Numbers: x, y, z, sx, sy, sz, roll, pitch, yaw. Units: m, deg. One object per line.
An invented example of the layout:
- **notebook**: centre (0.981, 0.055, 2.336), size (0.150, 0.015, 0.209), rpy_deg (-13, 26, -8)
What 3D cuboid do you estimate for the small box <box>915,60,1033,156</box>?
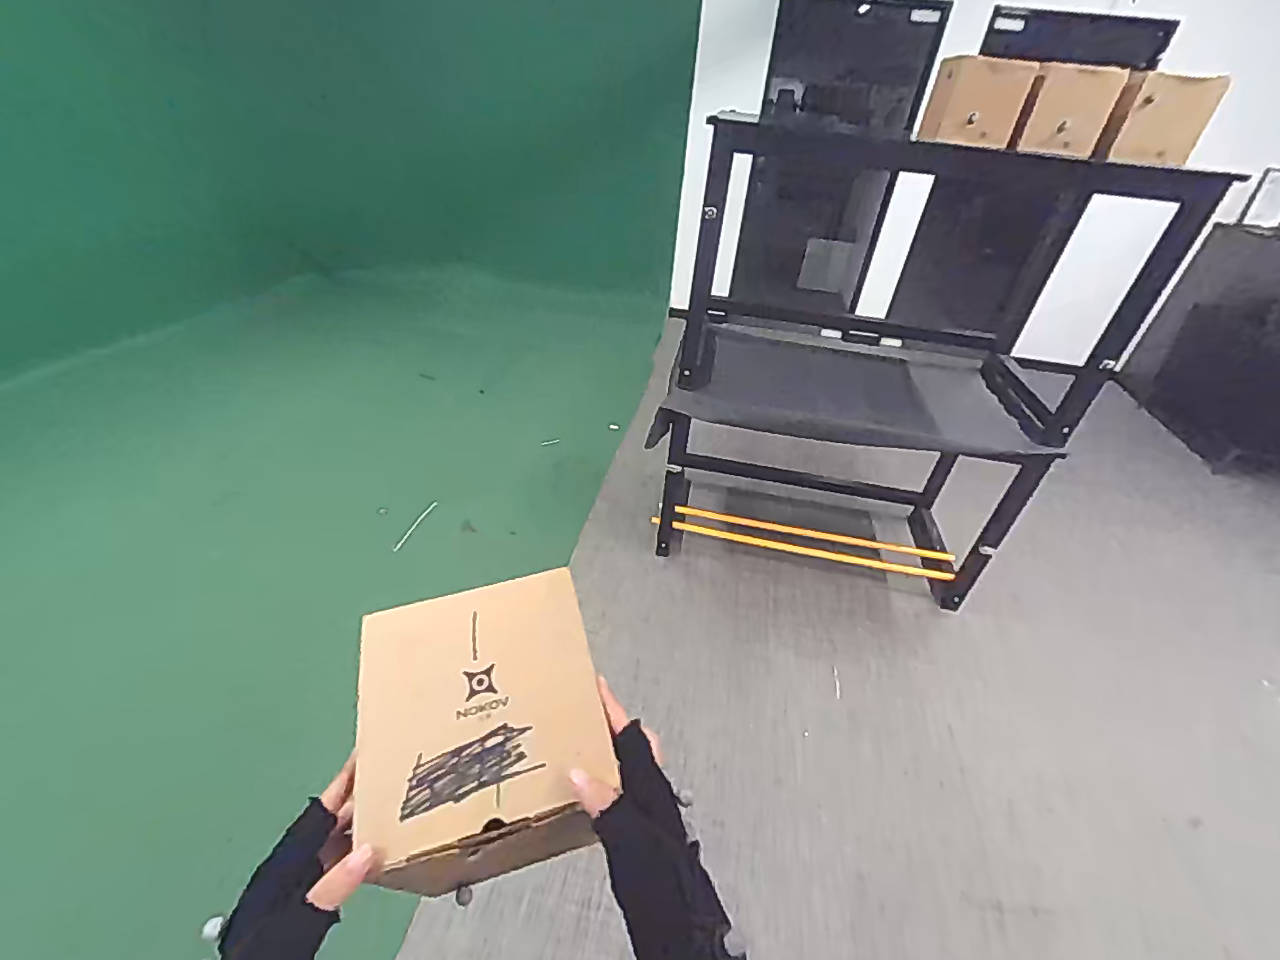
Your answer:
- **small box**: centre (0.794, -0.898, 1.311), size (0.168, 0.176, 0.179), rpy_deg (10, 36, 5)
